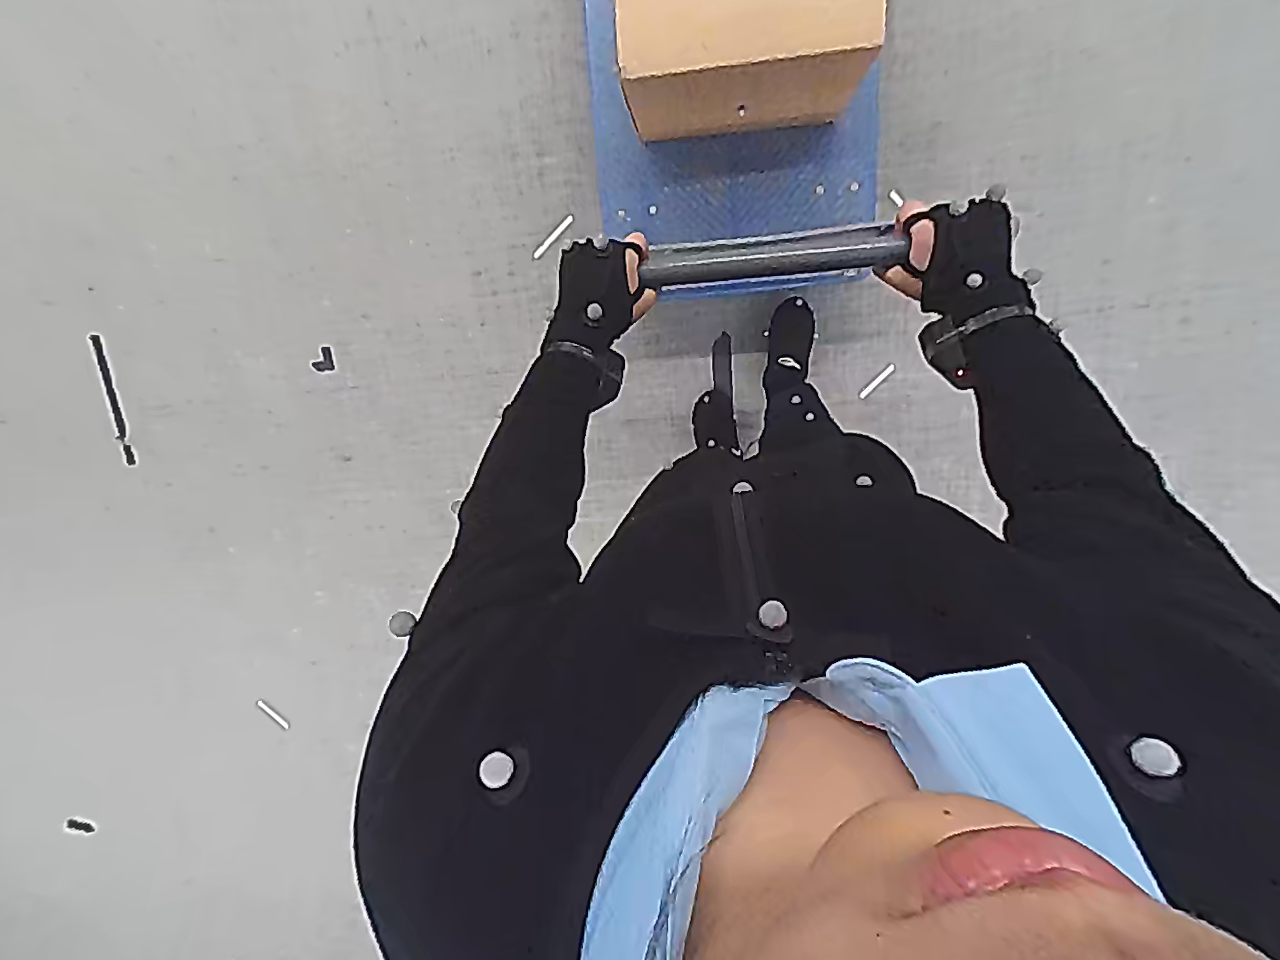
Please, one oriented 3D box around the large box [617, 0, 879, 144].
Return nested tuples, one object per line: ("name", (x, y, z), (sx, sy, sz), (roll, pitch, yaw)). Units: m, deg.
("large box", (0.177, -0.837, 0.960), (0.408, 0.320, 0.320), (-2, 104, 9))
